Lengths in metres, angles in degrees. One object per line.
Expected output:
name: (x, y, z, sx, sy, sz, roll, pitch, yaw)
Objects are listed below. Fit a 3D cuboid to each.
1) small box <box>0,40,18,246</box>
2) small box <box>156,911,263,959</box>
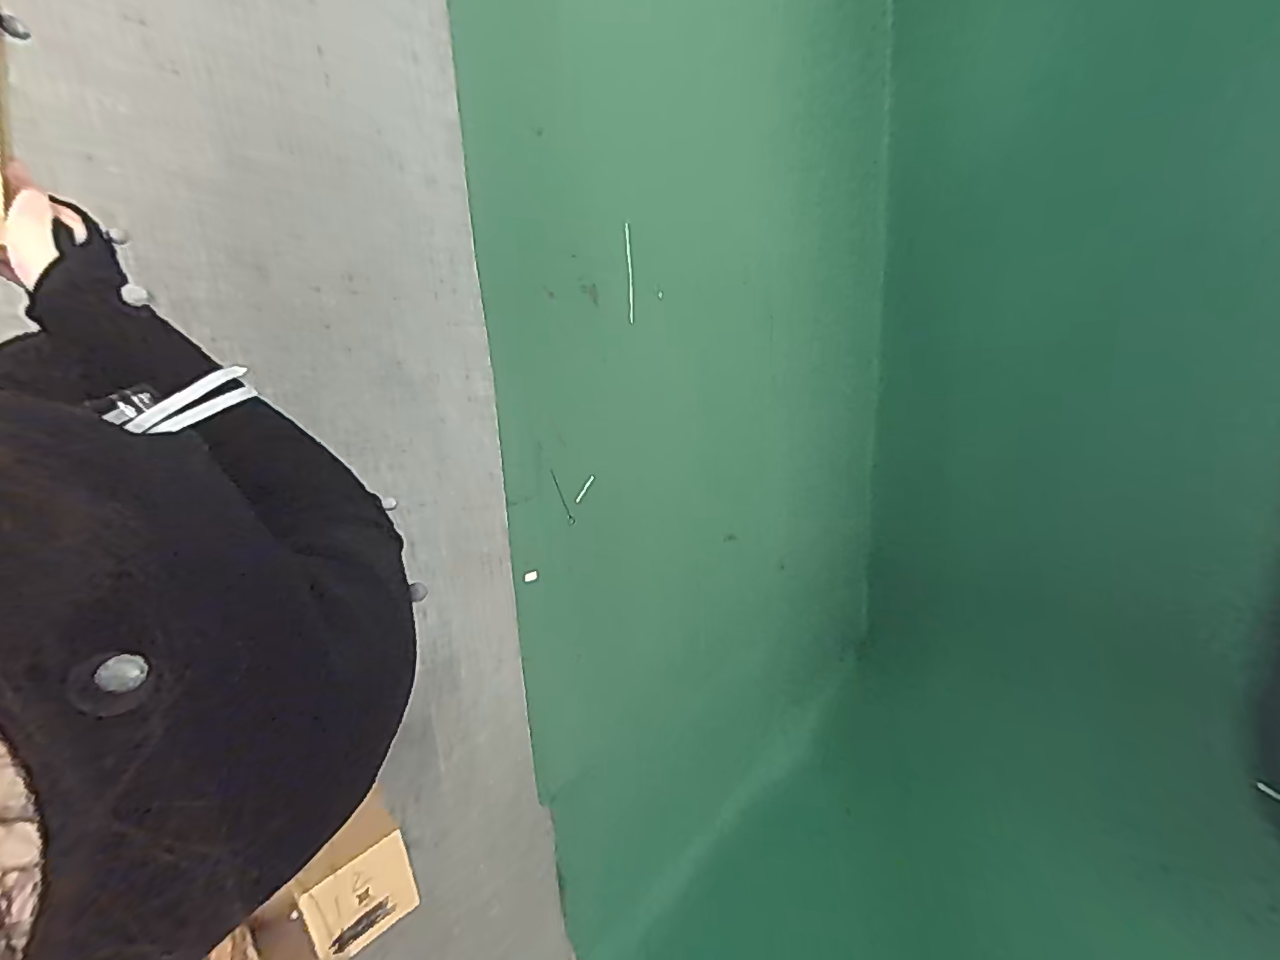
small box: (-0.511, -0.250, 0.326, 0.168, 0.176, 0.179, -5, 108, -46)
small box: (-0.711, 0.877, 0.889, 0.168, 0.176, 0.179, -22, 112, -45)
